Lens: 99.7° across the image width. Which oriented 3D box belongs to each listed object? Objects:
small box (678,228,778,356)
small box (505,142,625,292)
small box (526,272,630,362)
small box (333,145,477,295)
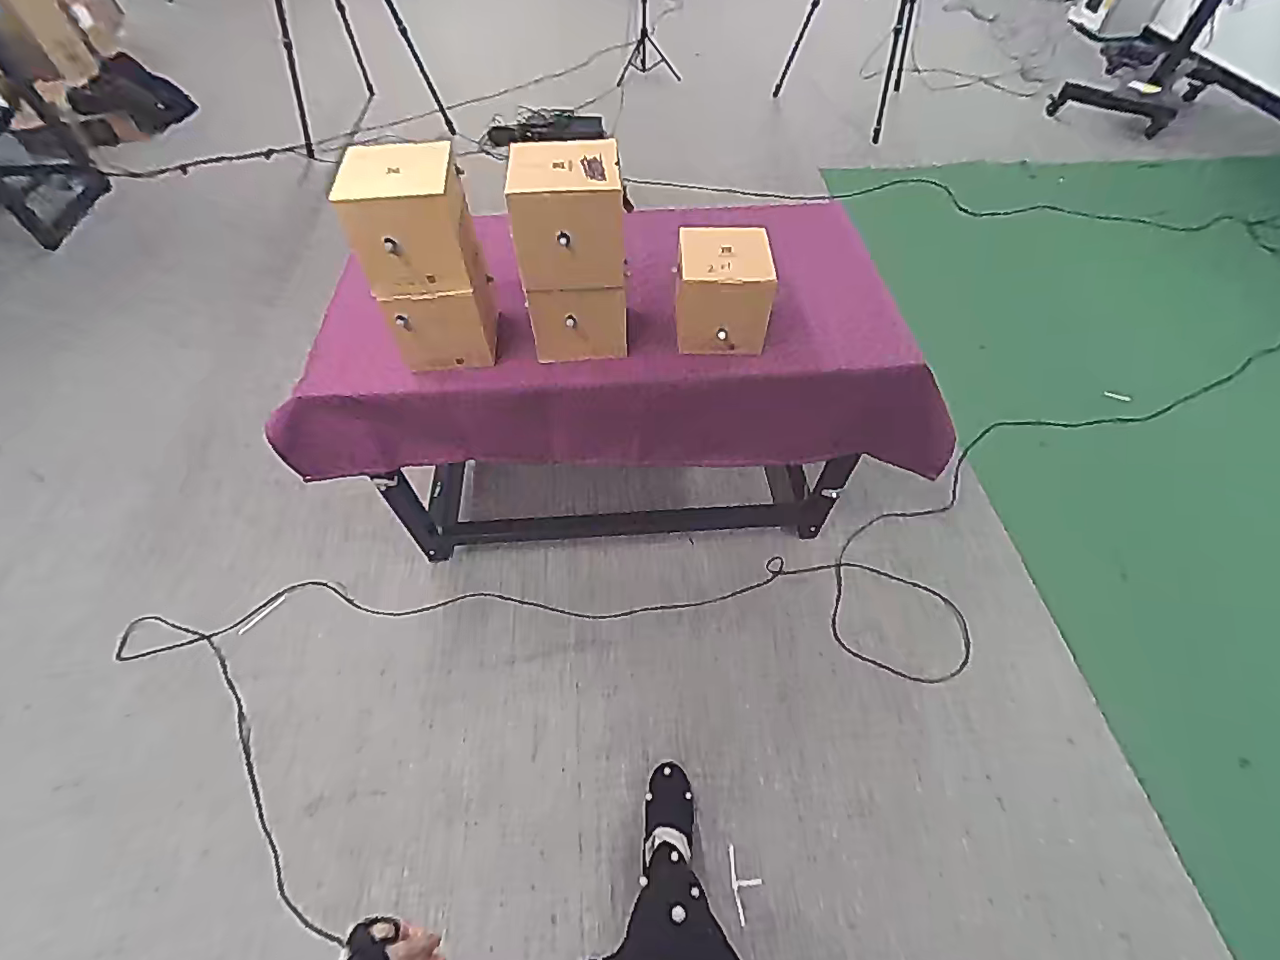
[{"bbox_3d":[0.161,-0.364,1.048,0.168,0.176,0.179,1,54,2],"label":"small box"},{"bbox_3d":[-0.115,-0.435,0.903,0.179,0.176,0.168,-4,54,-1],"label":"small box"},{"bbox_3d":[-0.115,-0.343,1.040,0.179,0.176,0.168,-5,55,-2],"label":"small box"},{"bbox_3d":[-0.375,-0.426,0.902,0.168,0.176,0.179,-7,53,-4],"label":"small box"}]
